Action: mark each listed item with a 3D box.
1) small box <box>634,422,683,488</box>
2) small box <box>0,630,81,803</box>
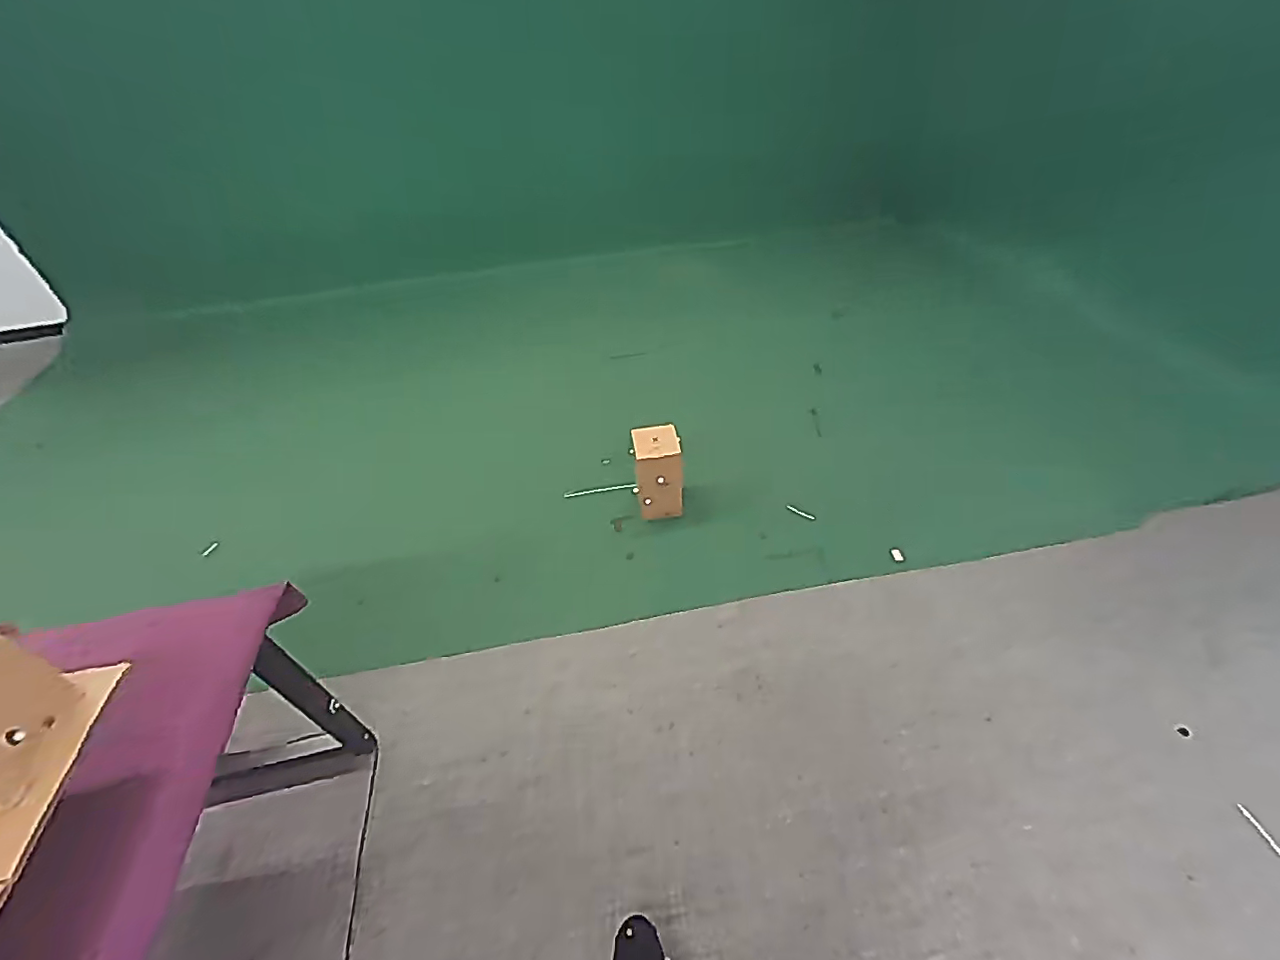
[{"bbox_3d":[0.069,-0.095,2.046,0.168,0.176,0.179,-8,44,-2],"label":"small box"},{"bbox_3d":[-0.898,0.315,0.683,0.179,0.176,0.168,-11,42,-7],"label":"small box"}]
